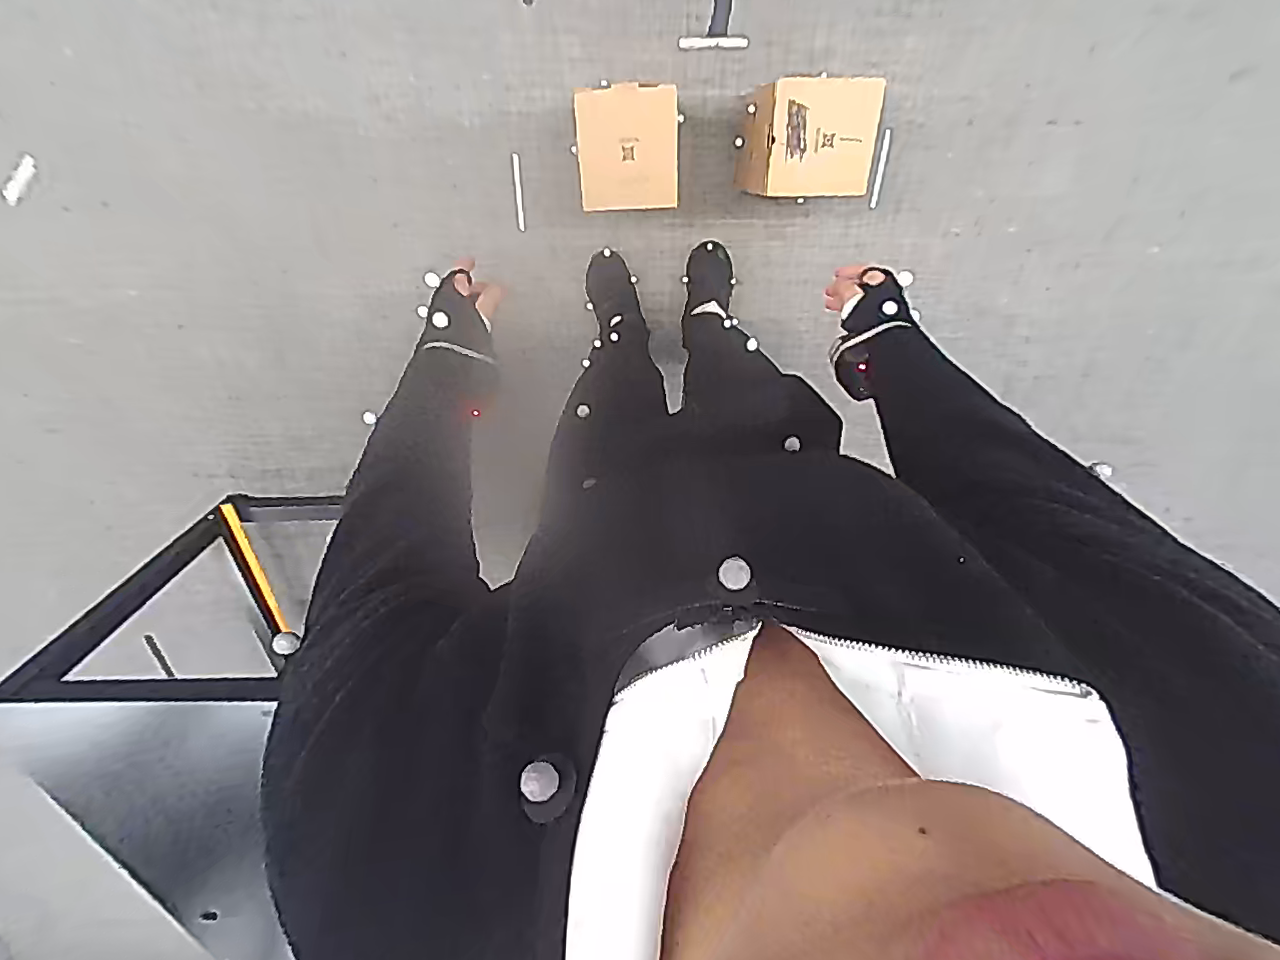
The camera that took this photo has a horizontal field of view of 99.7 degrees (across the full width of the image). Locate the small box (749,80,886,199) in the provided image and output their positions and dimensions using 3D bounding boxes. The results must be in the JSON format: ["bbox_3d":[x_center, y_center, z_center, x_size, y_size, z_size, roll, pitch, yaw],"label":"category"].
[{"bbox_3d":[0.298,-0.593,0.955,0.179,0.176,0.168,-1,121,-1],"label":"small box"}]

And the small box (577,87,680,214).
[{"bbox_3d":[-0.017,-0.578,0.959,0.168,0.176,0.179,-2,122,2],"label":"small box"}]

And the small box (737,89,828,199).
[{"bbox_3d":[0.299,-0.678,1.096,0.168,0.176,0.179,0,122,-3],"label":"small box"}]
